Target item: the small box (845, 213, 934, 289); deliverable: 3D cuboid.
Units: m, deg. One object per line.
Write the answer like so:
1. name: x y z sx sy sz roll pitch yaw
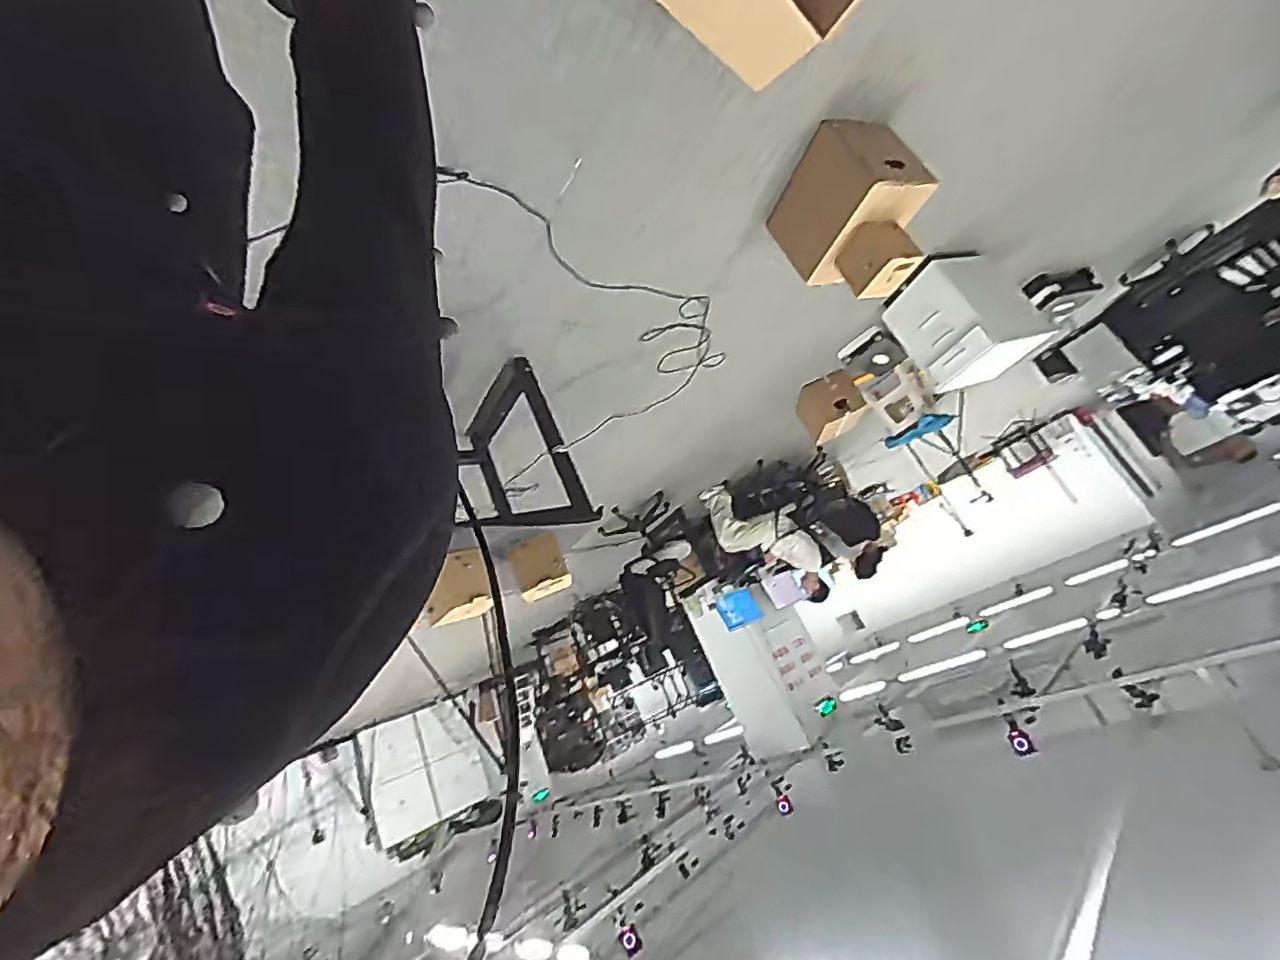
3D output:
1. small box: 0.824 -0.767 1.804 0.168 0.176 0.179 -14 158 -25

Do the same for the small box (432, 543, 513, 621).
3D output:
1. small box: -0.524 0.312 1.674 0.168 0.176 0.179 -6 154 -45
